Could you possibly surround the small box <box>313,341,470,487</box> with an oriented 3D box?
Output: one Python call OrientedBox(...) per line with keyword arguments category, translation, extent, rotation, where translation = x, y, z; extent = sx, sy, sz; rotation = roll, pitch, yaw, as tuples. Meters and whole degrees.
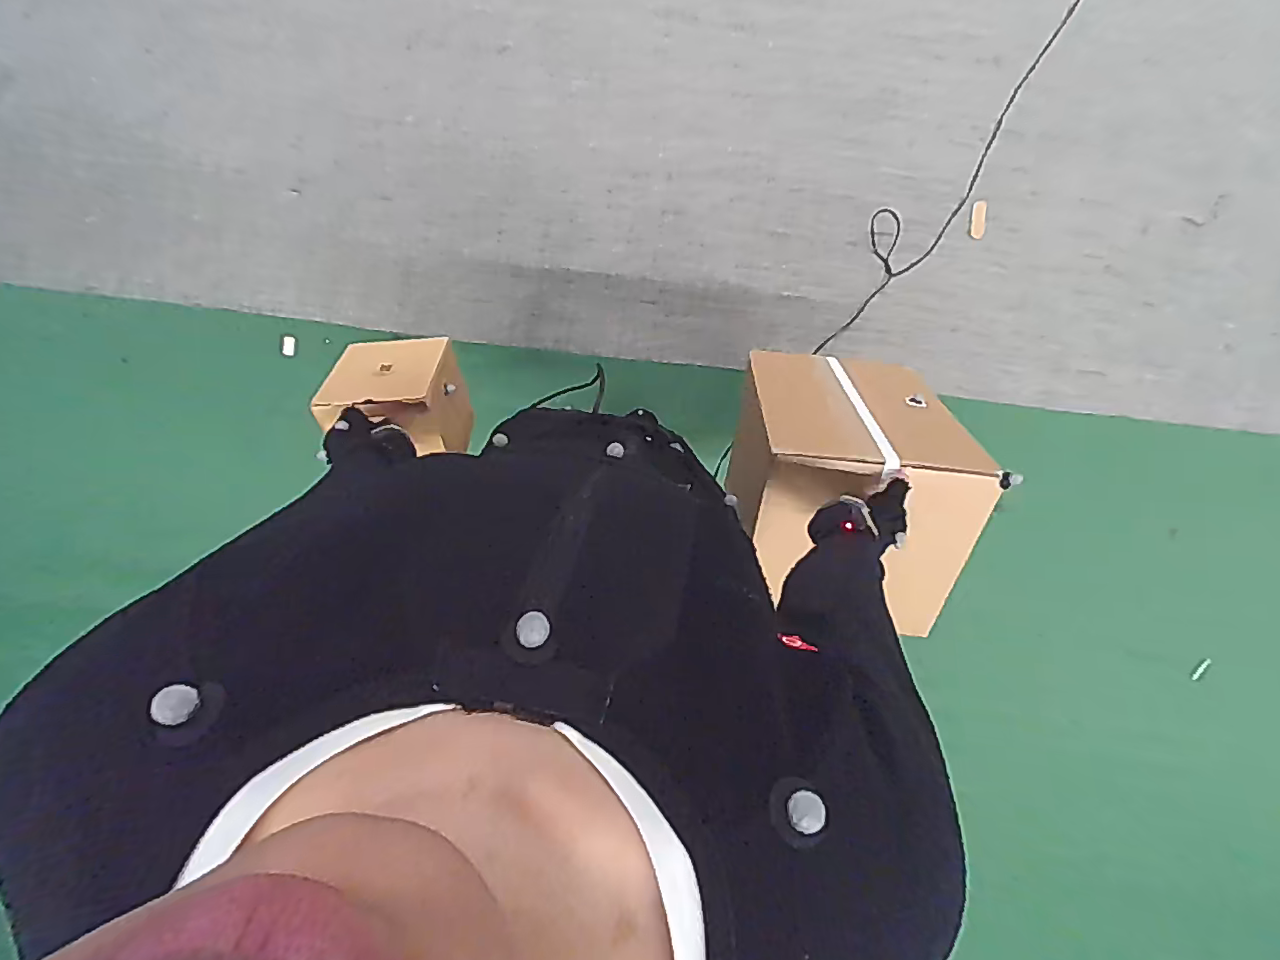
OrientedBox(category="small box", translation=(-0.389, -0.108, 0.888), extent=(0.168, 0.179, 0.176), rotation=(-4, 134, 0))
